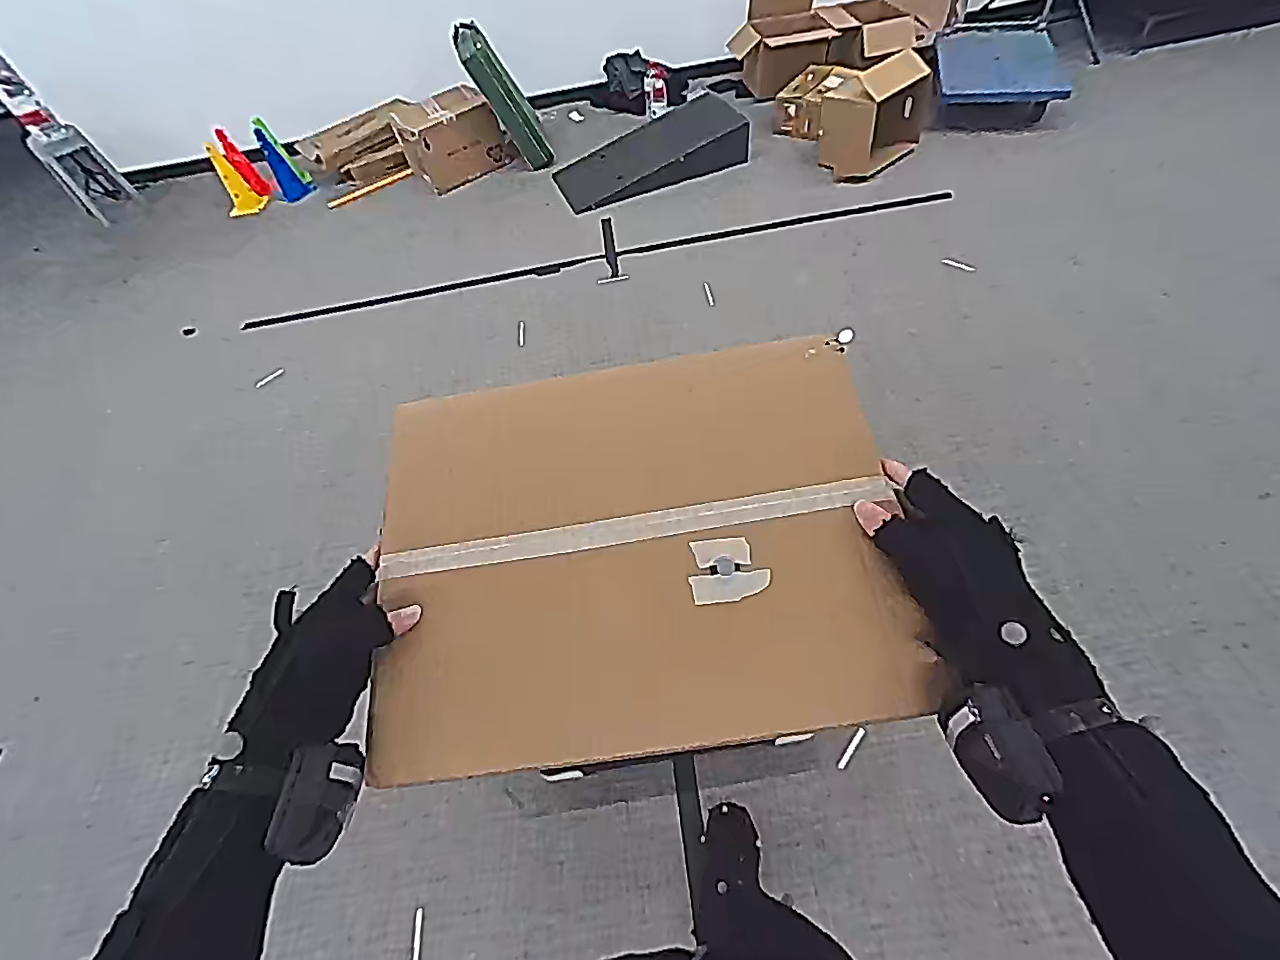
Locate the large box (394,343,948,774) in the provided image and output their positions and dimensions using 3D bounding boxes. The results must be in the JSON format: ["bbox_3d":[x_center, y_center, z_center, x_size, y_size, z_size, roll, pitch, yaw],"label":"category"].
[{"bbox_3d":[0.013,0.104,0.575,0.408,0.320,0.320,-9,65,2],"label":"large box"}]
